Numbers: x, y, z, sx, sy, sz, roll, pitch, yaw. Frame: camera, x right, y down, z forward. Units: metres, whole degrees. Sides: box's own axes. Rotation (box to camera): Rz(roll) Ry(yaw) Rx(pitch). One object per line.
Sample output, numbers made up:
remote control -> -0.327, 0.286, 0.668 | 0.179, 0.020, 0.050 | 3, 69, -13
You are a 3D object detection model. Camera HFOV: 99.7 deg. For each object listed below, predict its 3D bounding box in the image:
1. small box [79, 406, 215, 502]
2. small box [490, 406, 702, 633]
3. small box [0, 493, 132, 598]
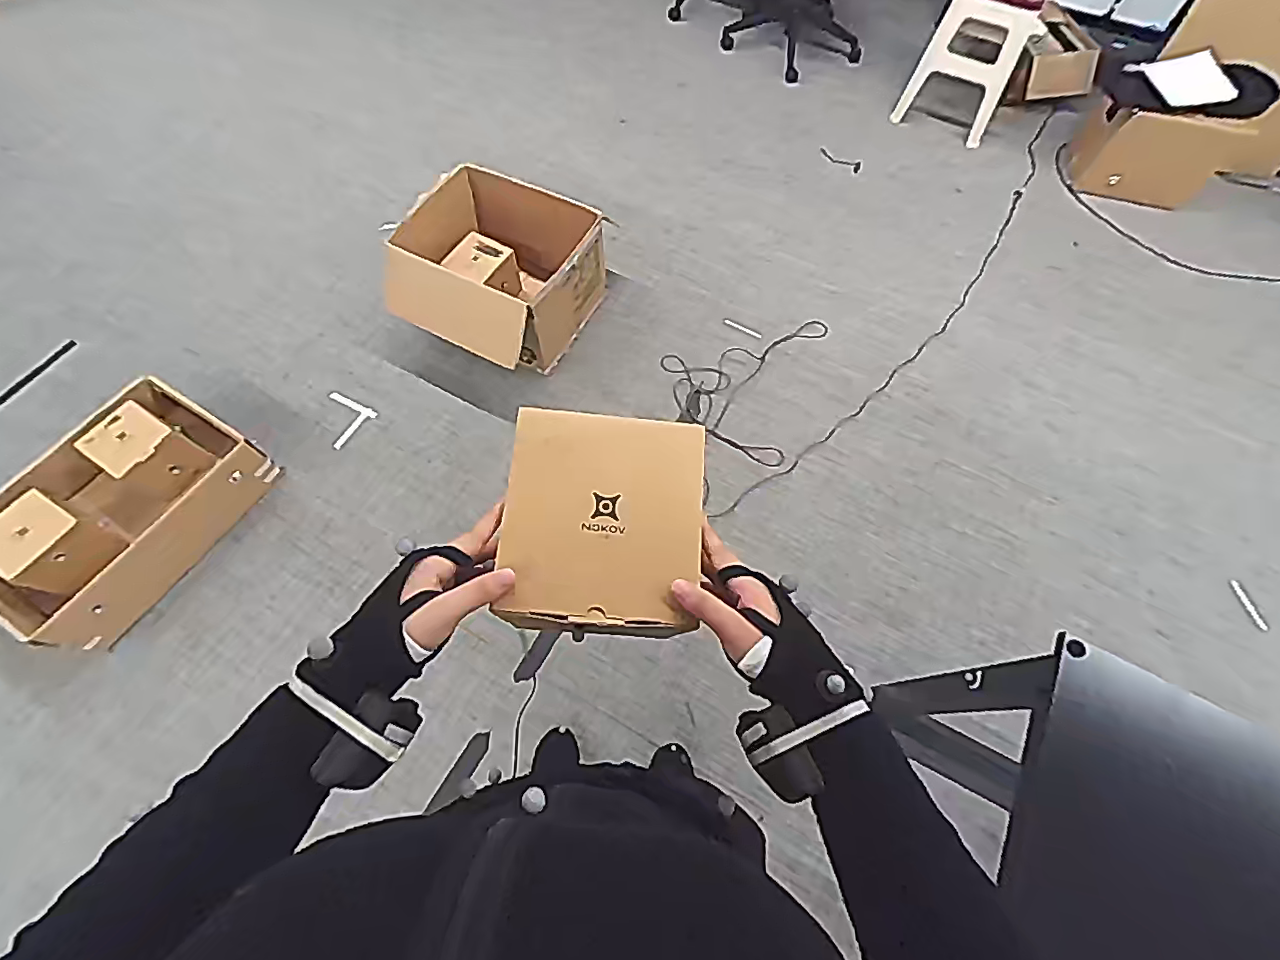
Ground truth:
small box -> -1.313, -0.060, 1.458 | 0.179, 0.176, 0.168 | 31, 69, 11
small box -> -0.039, 0.050, 0.525 | 0.168, 0.176, 0.179 | 5, 72, -5
small box -> -1.449, 0.170, 1.345 | 0.168, 0.176, 0.179 | 29, 66, 9
